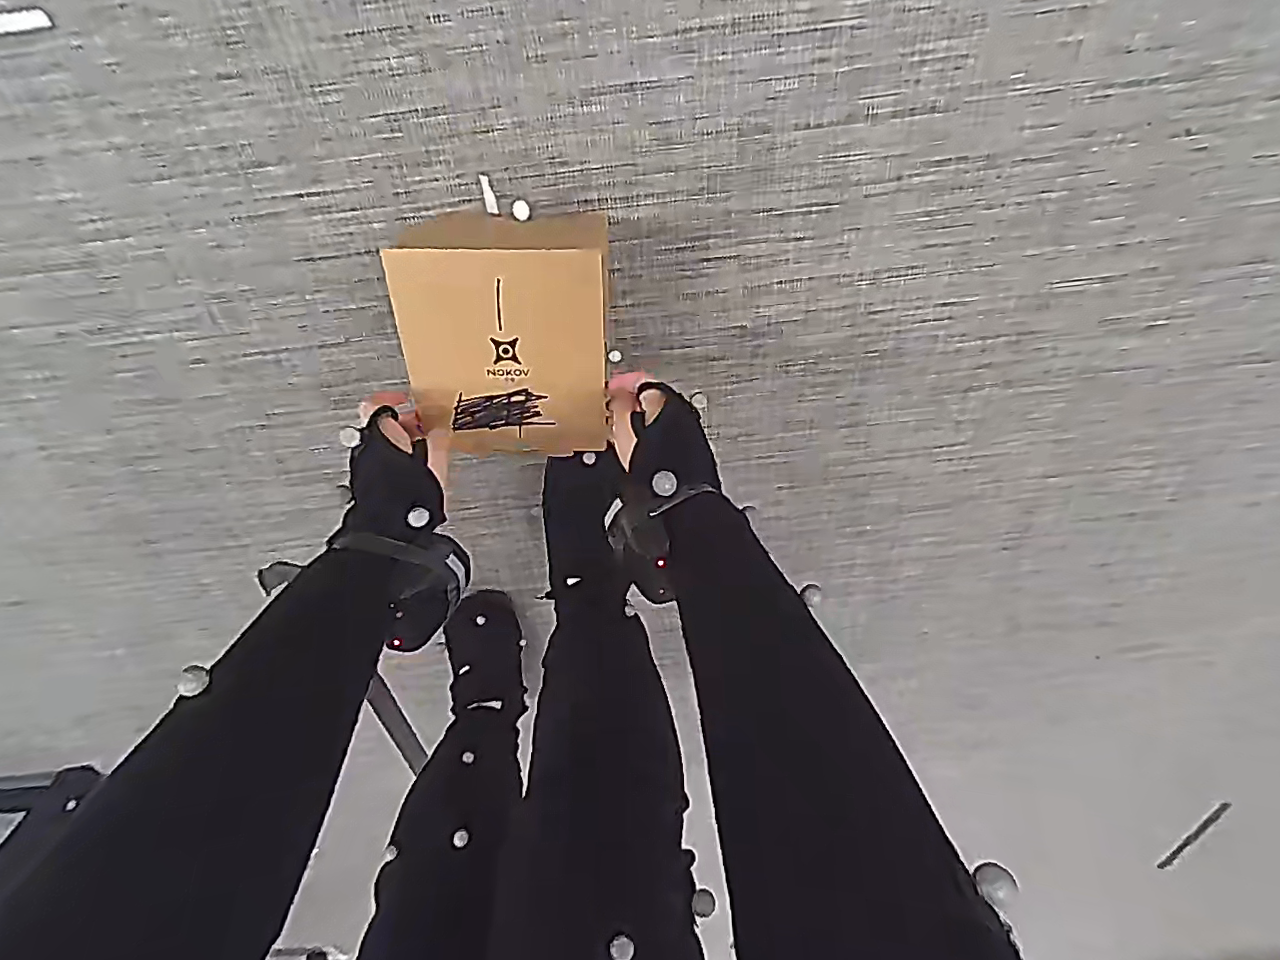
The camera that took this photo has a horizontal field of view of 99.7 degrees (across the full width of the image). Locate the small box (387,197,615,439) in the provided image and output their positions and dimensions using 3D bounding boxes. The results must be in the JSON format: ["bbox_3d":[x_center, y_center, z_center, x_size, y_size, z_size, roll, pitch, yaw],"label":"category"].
[{"bbox_3d":[-0.108,-0.155,0.508,0.168,0.176,0.179,0,124,-3],"label":"small box"}]
